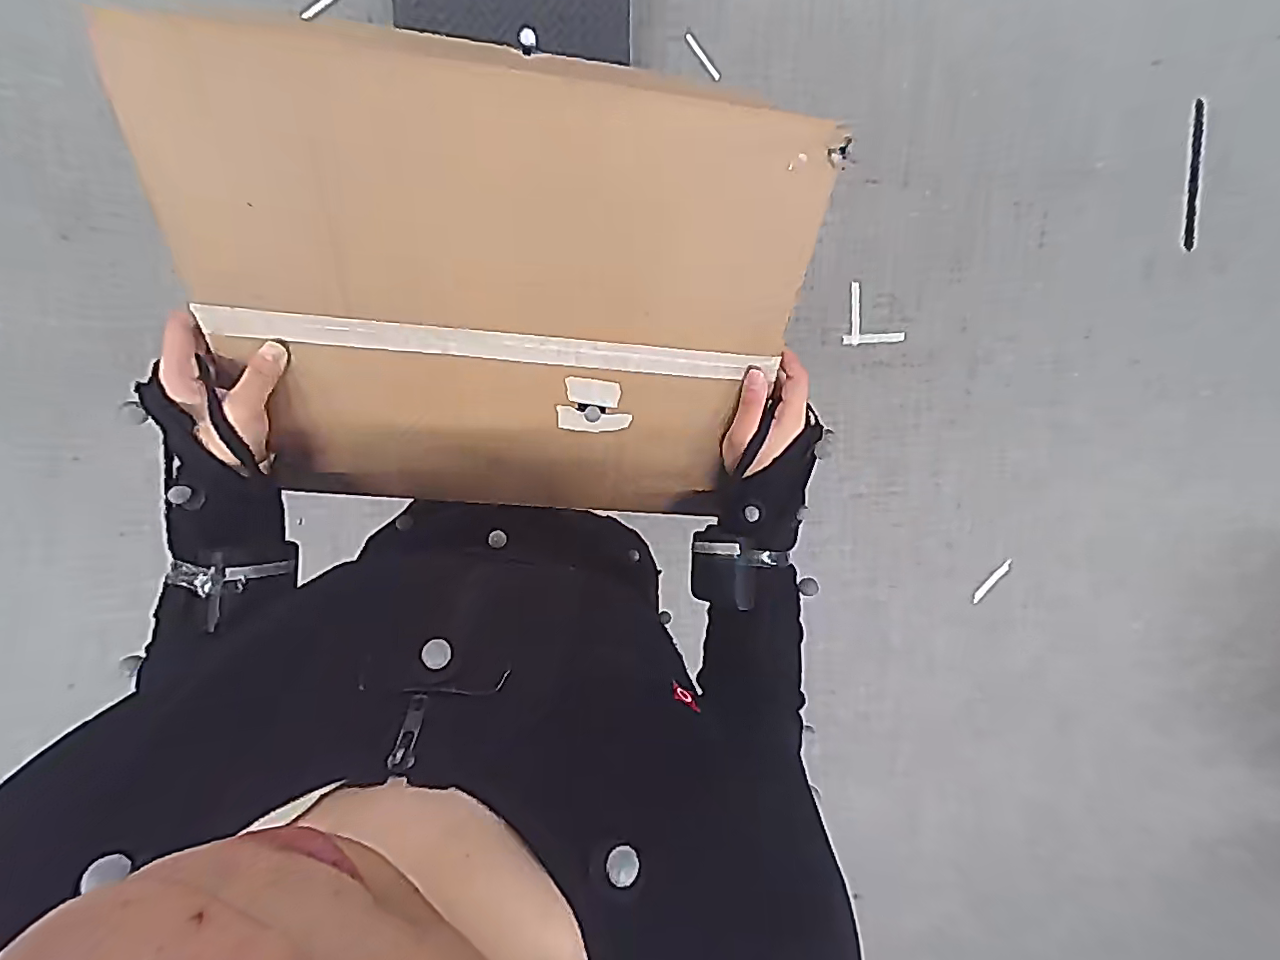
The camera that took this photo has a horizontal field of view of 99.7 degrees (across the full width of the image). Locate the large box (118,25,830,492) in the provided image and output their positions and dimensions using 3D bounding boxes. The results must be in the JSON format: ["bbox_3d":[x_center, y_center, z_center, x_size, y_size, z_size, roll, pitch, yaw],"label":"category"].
[{"bbox_3d":[-0.107,-0.206,0.512,0.408,0.320,0.320,2,131,-7],"label":"large box"}]
